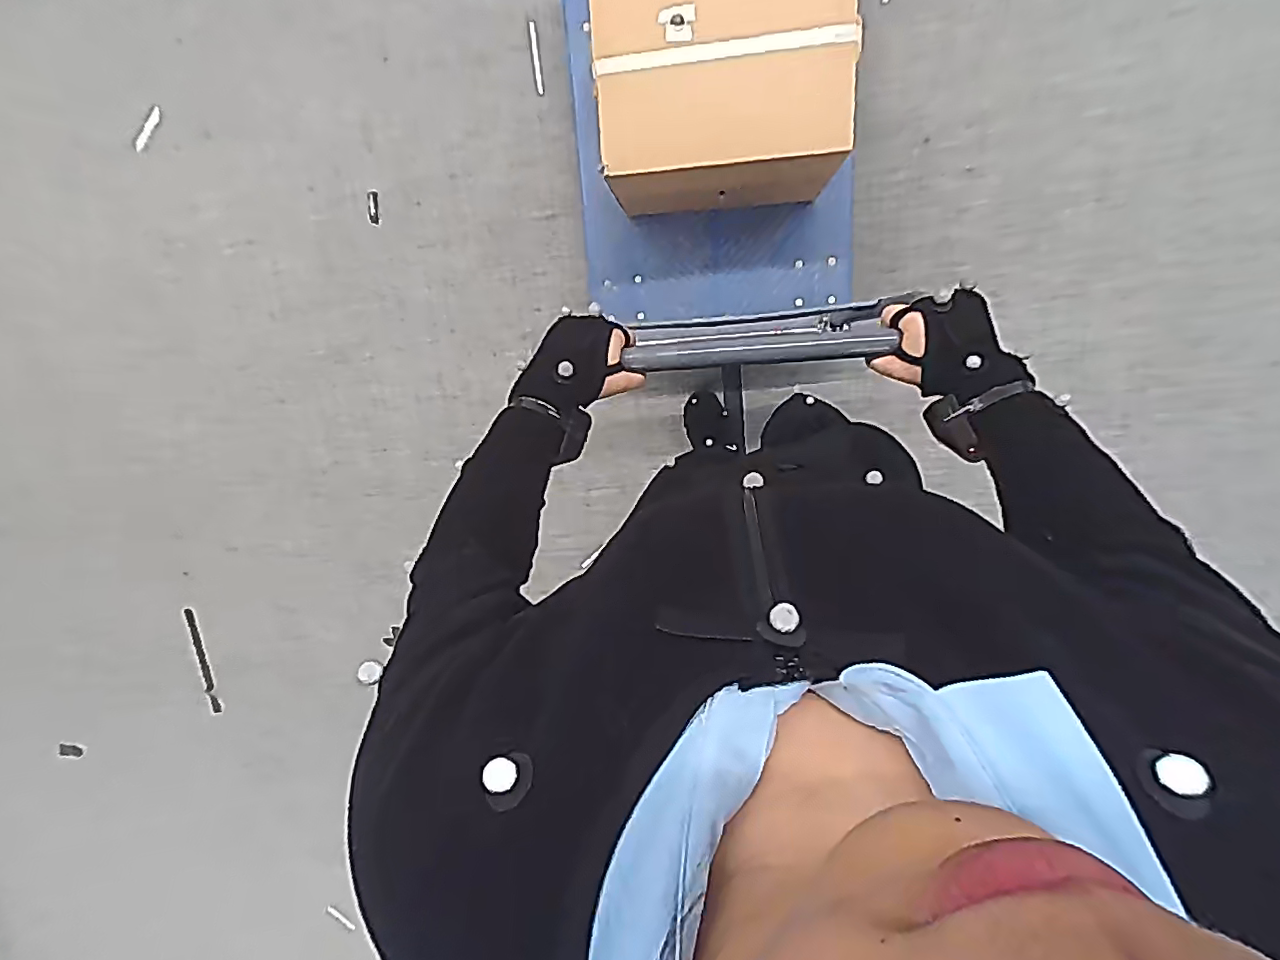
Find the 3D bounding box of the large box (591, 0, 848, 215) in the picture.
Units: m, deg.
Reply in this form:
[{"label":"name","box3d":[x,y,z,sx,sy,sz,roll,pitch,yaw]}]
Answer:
[{"label":"large box","box3d":[0.146,-0.710,1.006,0.408,0.320,0.320,-2,103,8]}]
